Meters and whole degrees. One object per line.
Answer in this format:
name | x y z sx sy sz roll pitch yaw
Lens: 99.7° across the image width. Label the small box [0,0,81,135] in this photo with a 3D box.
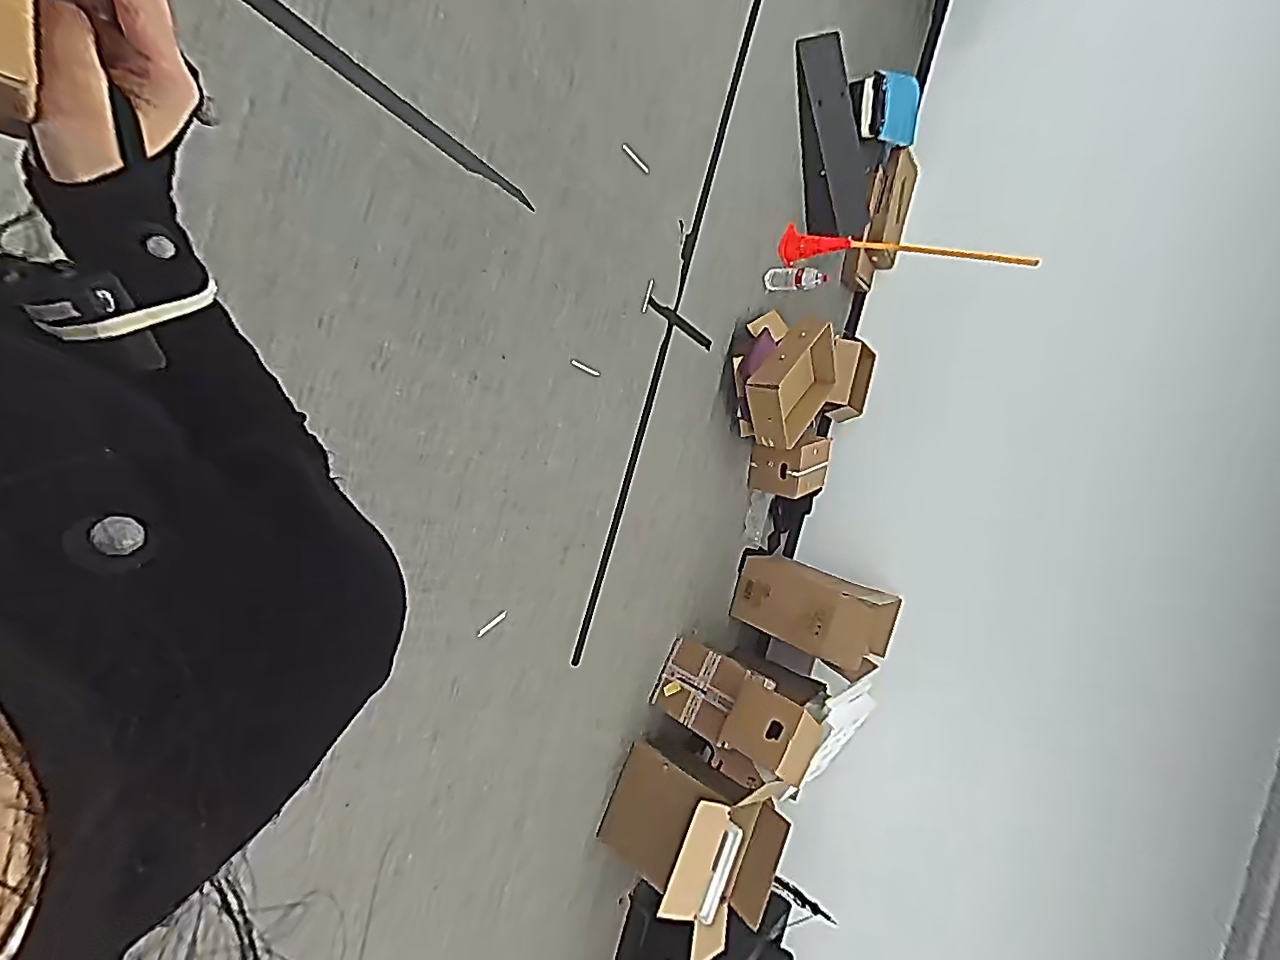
small box | -0.307 -0.249 0.179 0.168 0.176 0.179 0 108 -48
